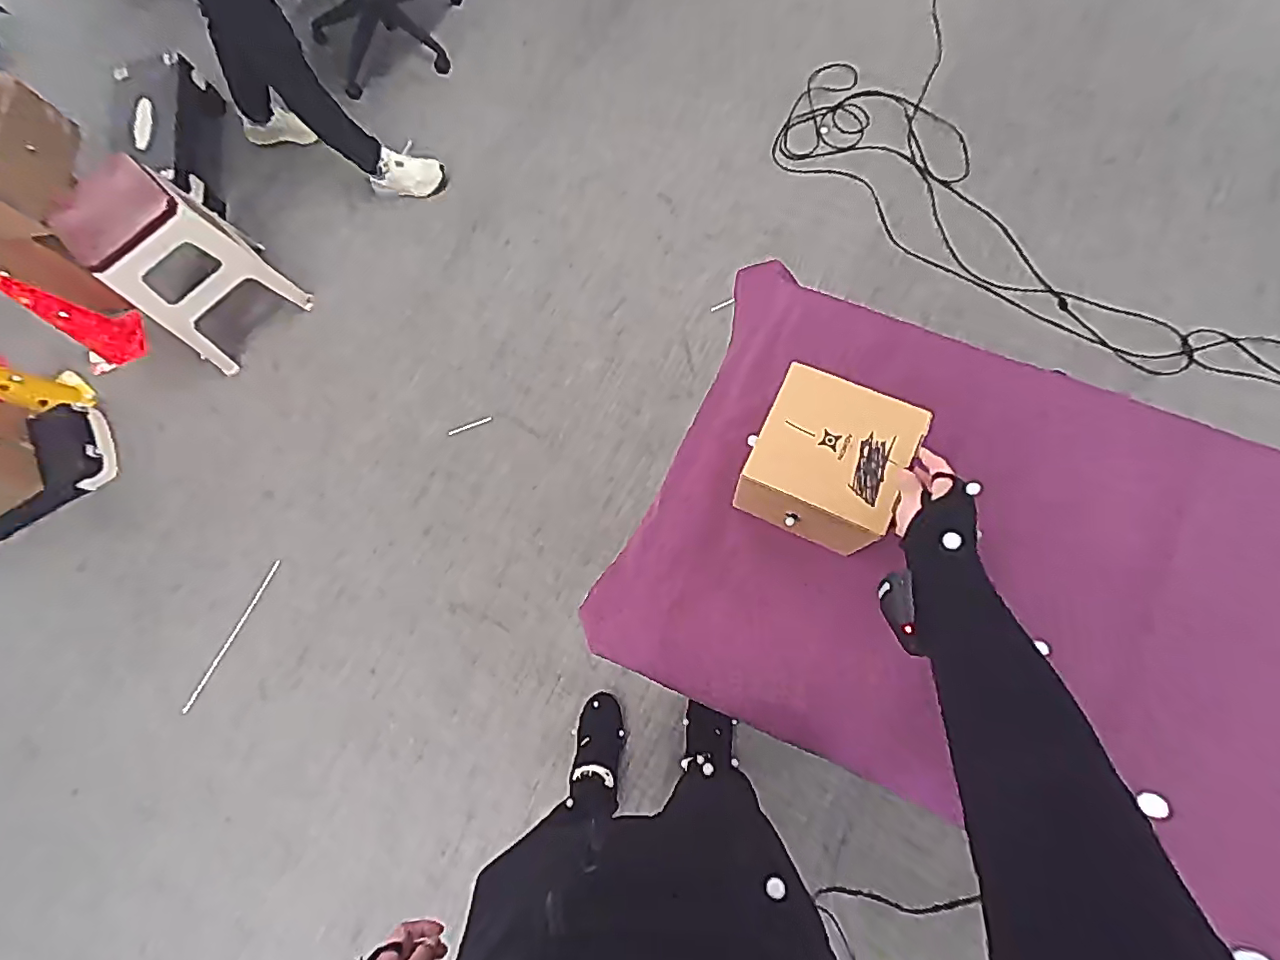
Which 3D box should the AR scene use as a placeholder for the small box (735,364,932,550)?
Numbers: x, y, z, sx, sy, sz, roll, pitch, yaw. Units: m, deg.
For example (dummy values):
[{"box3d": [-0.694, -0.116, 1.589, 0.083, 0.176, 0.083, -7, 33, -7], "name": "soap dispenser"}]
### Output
[{"box3d": [0.239, -0.019, 0.711, 0.179, 0.176, 0.168, 25, 78, 13], "name": "small box"}]
